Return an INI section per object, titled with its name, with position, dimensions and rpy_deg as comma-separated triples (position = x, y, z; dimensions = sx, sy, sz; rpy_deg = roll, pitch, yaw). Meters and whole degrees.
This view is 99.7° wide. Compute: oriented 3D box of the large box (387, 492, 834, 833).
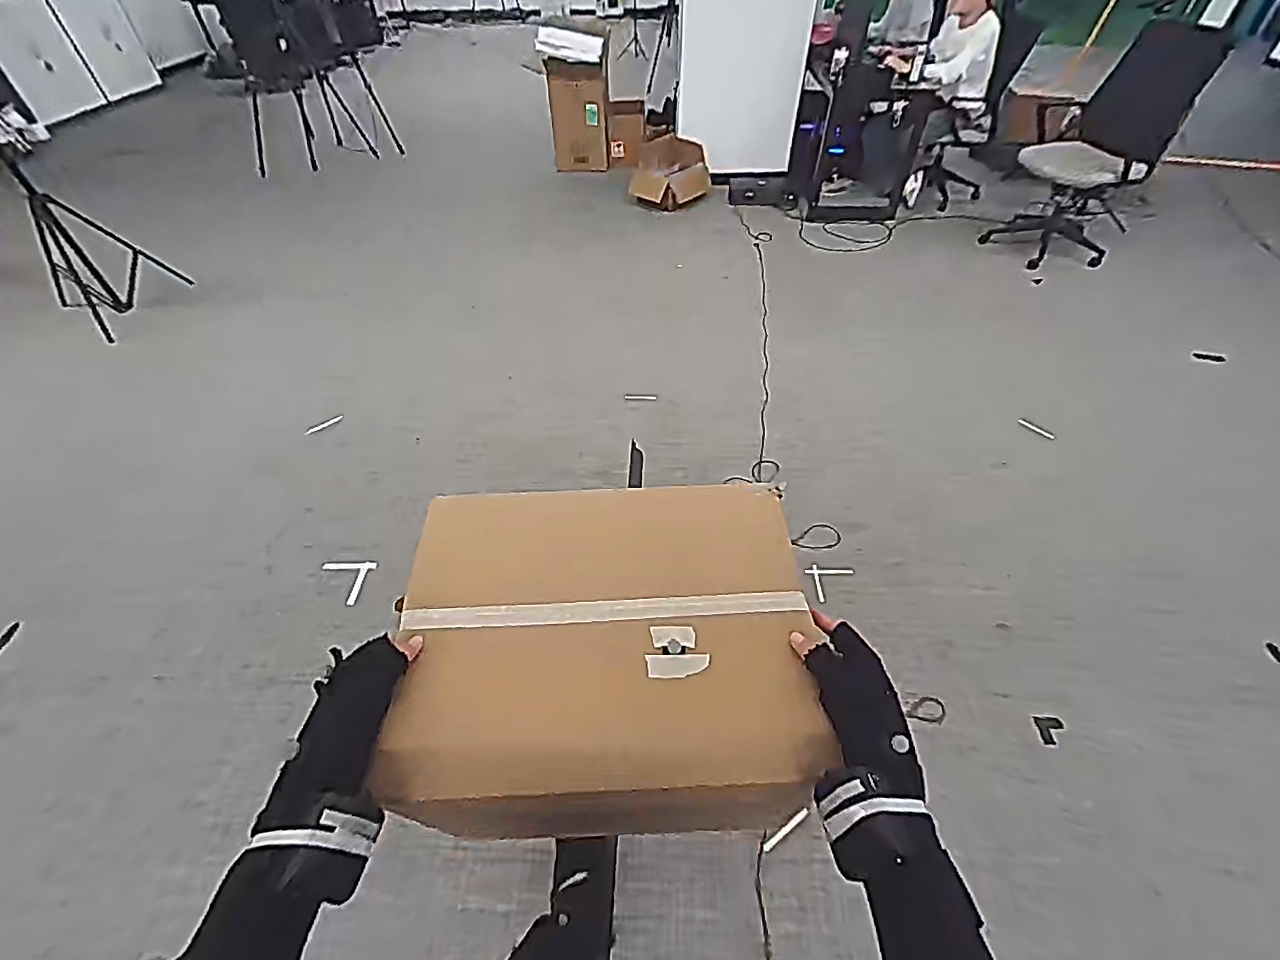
[large box]
position = -0.032, 0.234, 0.680
dimensions = 0.408, 0.320, 0.320
rpy_deg = -2, 52, -1
